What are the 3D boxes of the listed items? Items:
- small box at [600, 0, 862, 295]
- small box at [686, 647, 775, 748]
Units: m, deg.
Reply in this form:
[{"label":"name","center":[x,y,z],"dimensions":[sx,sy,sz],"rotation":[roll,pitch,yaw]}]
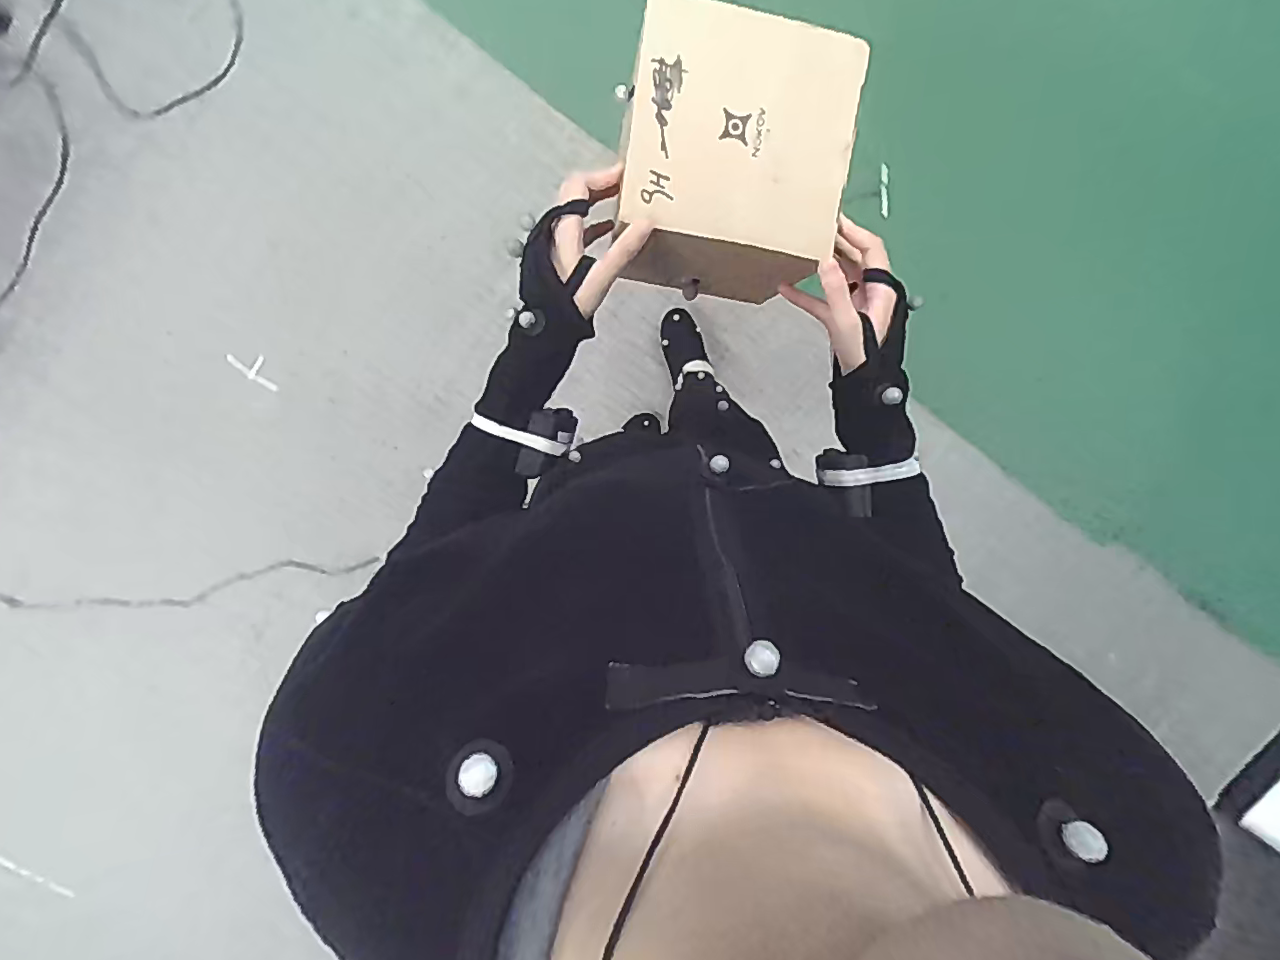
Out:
[{"label":"small box","center":[0.065,-0.276,0.490],"dimensions":[0.179,0.176,0.168],"rotation":[7,96,-8]},{"label":"small box","center":[0.252,0.615,1.550],"dimensions":[0.179,0.176,0.168],"rotation":[38,98,-7]}]
